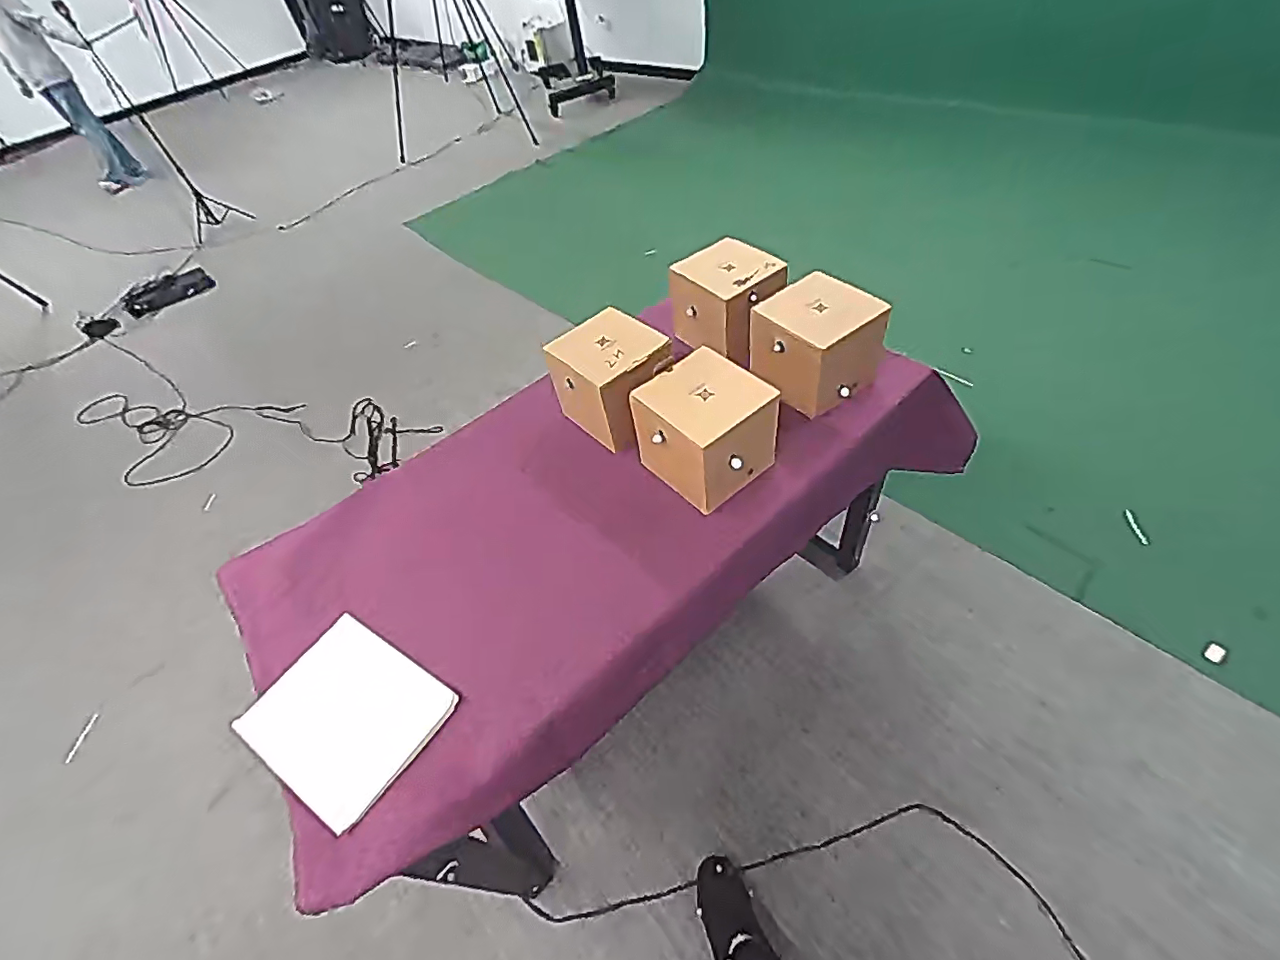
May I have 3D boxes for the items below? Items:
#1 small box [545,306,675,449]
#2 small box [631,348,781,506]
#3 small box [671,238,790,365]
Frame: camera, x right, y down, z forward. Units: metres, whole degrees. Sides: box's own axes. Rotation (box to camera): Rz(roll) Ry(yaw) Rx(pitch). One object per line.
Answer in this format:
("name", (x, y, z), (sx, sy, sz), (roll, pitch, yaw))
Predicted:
("small box", (-0.049, -0.190, 1.013), (0.168, 0.176, 0.179), (-37, 55, -20))
("small box", (0.111, -0.080, 0.898), (0.168, 0.176, 0.179), (-35, 53, -19))
("small box", (0.185, -0.367, 1.122), (0.168, 0.176, 0.179), (-33, 53, -17))
